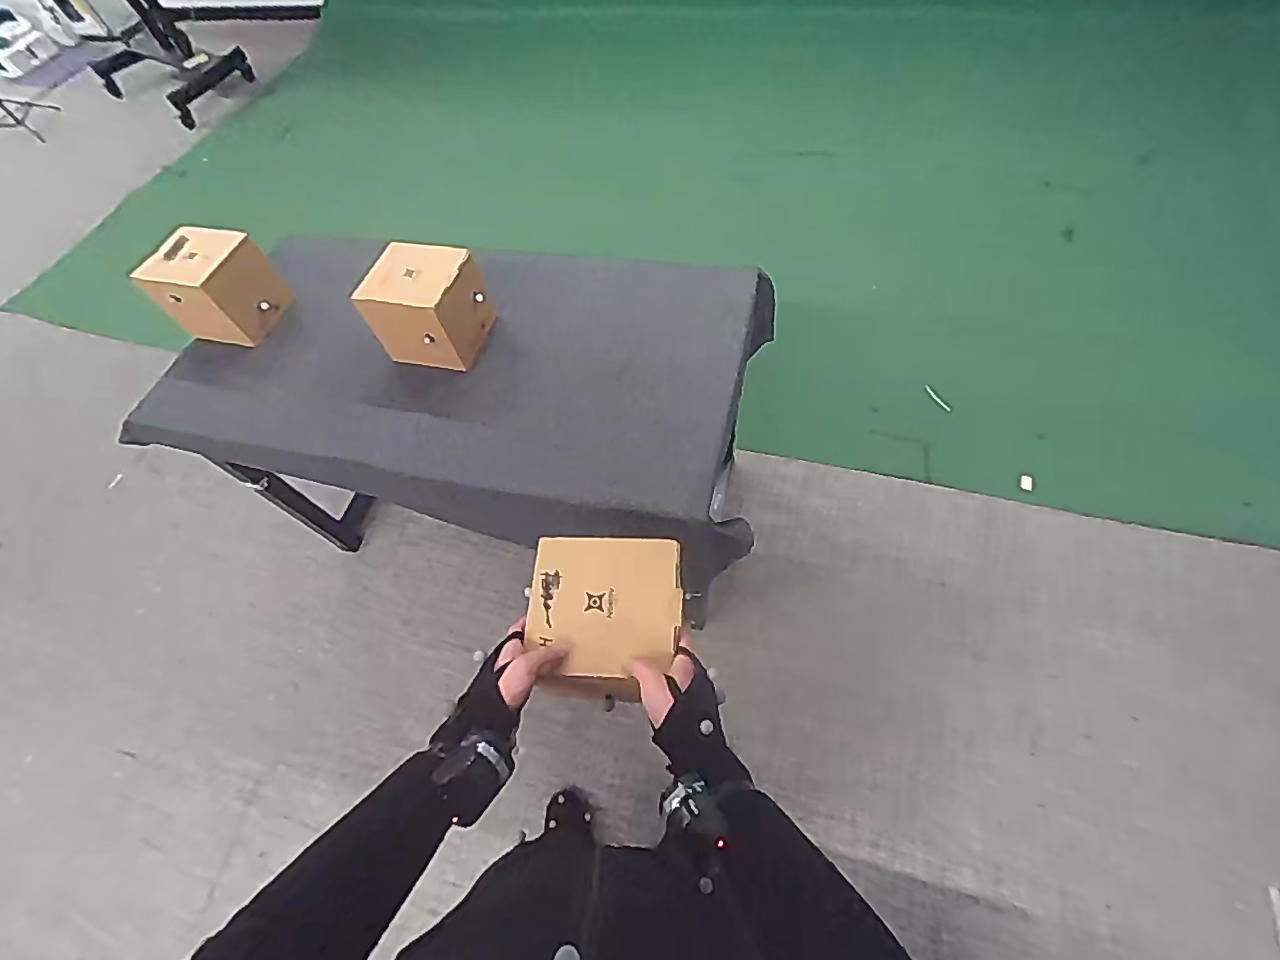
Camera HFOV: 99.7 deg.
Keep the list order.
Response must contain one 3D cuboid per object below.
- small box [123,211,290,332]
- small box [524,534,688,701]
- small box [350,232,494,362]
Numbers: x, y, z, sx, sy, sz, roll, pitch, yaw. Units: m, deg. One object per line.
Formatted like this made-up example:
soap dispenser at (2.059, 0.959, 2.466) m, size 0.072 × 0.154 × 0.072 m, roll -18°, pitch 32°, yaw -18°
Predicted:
small box at (-0.900, -0.436, 1.143) m, size 0.179 × 0.176 × 0.168 m, roll 12°, pitch 62°, yaw 10°
small box at (-0.032, 0.180, 0.687) m, size 0.179 × 0.176 × 0.168 m, roll 2°, pitch 60°, yaw 4°
small box at (-0.410, -0.352, 1.055) m, size 0.179 × 0.176 × 0.168 m, roll 10°, pitch 61°, yaw 12°
